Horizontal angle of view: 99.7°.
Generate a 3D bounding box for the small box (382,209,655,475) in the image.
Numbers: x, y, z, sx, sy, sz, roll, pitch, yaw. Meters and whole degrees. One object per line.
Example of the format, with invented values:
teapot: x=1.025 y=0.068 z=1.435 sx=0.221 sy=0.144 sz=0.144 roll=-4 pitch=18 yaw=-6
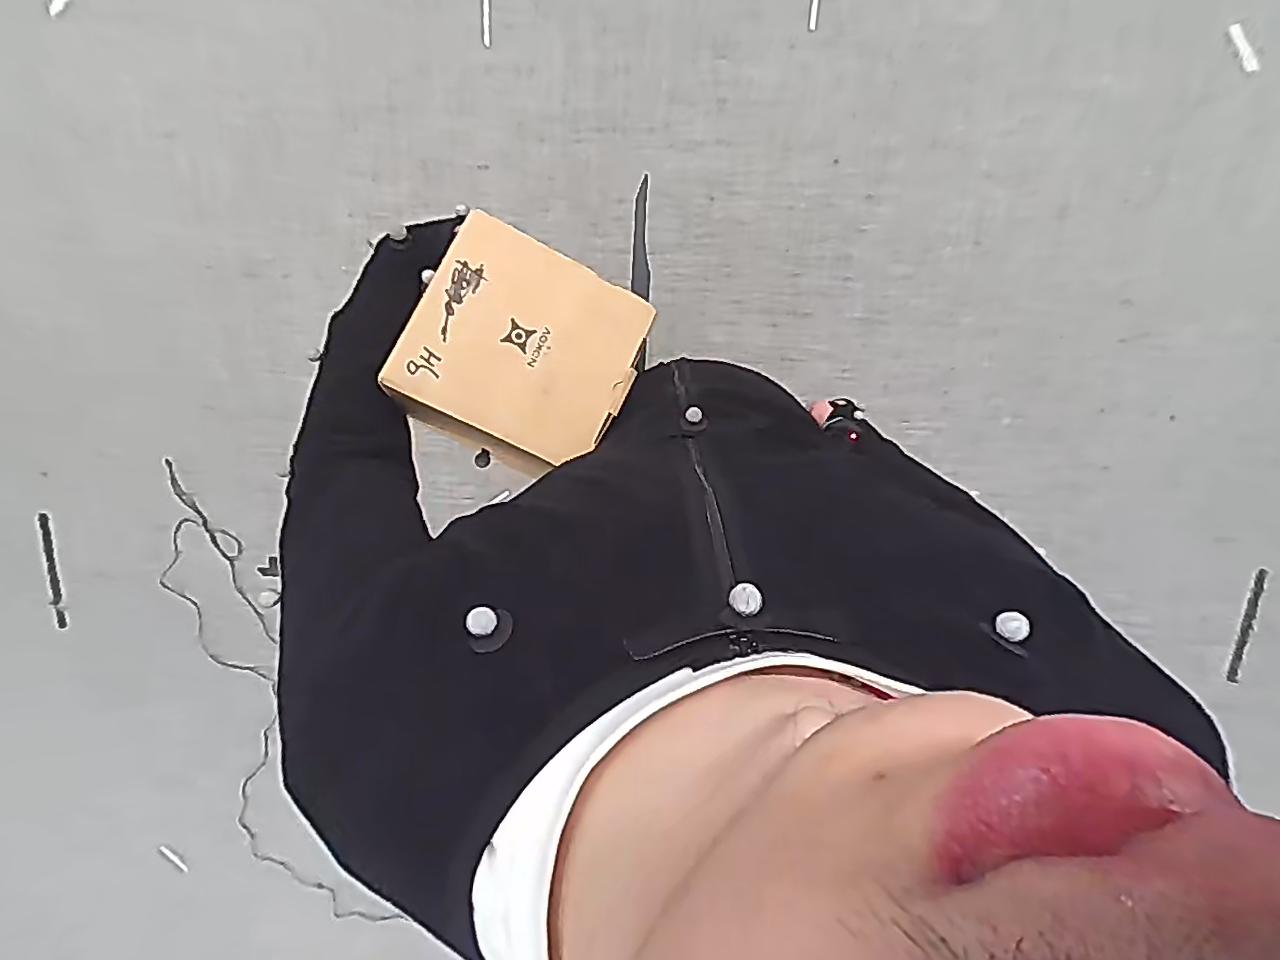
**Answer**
small box: x=-0.114 y=-0.112 z=0.526 sx=0.179 sy=0.176 sz=0.168 roll=26 pitch=80 yaw=-12
